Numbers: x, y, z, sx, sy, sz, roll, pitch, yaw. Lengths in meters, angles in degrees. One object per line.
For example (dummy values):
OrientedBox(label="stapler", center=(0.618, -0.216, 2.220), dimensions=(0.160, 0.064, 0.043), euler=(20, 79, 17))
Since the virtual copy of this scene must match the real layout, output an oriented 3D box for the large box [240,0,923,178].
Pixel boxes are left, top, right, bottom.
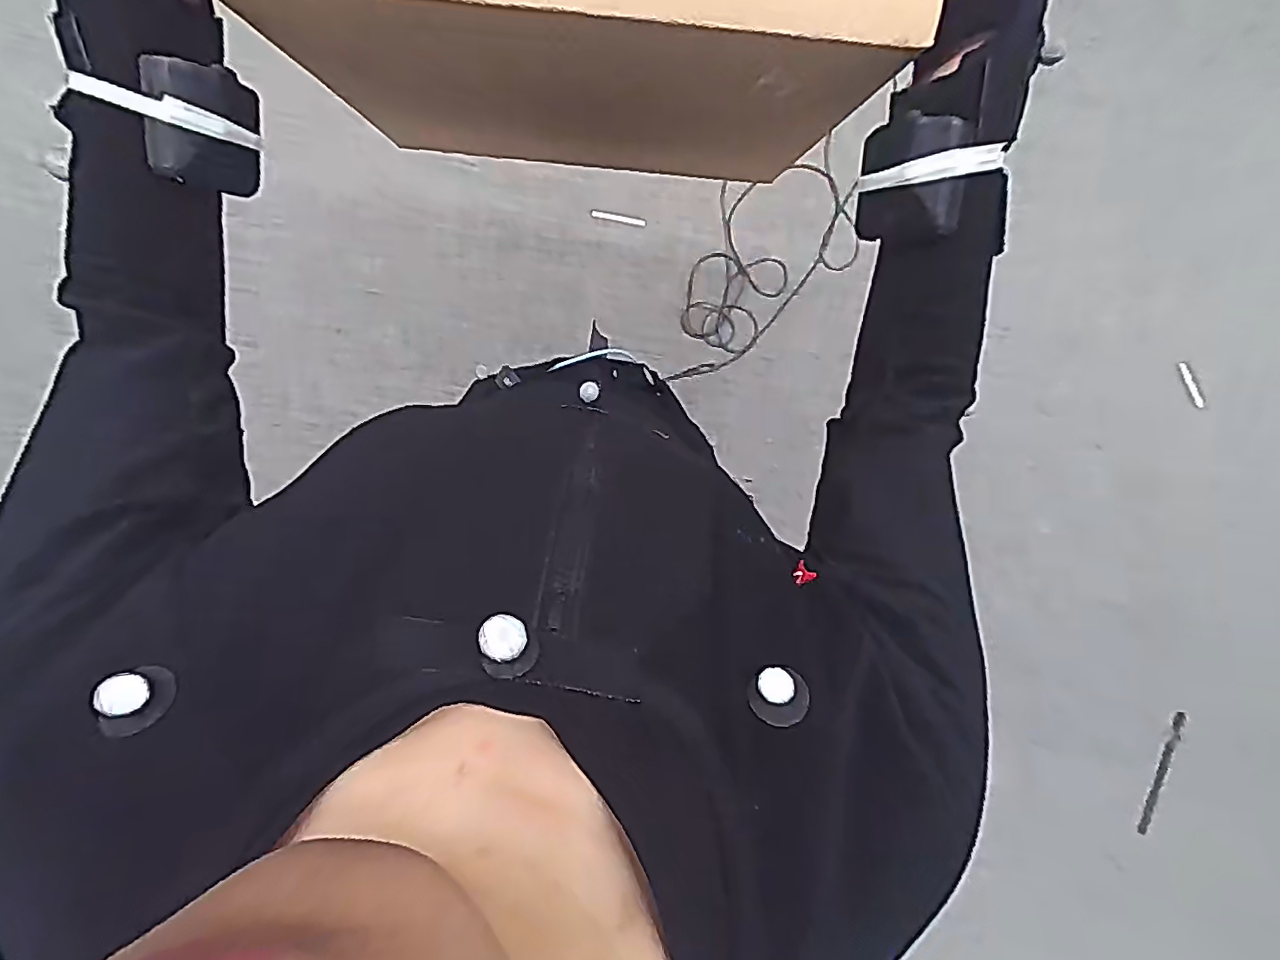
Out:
OrientedBox(label="large box", center=(-0.037, -0.446, 0.406), dimensions=(0.408, 0.320, 0.320), euler=(3, 107, -5))
